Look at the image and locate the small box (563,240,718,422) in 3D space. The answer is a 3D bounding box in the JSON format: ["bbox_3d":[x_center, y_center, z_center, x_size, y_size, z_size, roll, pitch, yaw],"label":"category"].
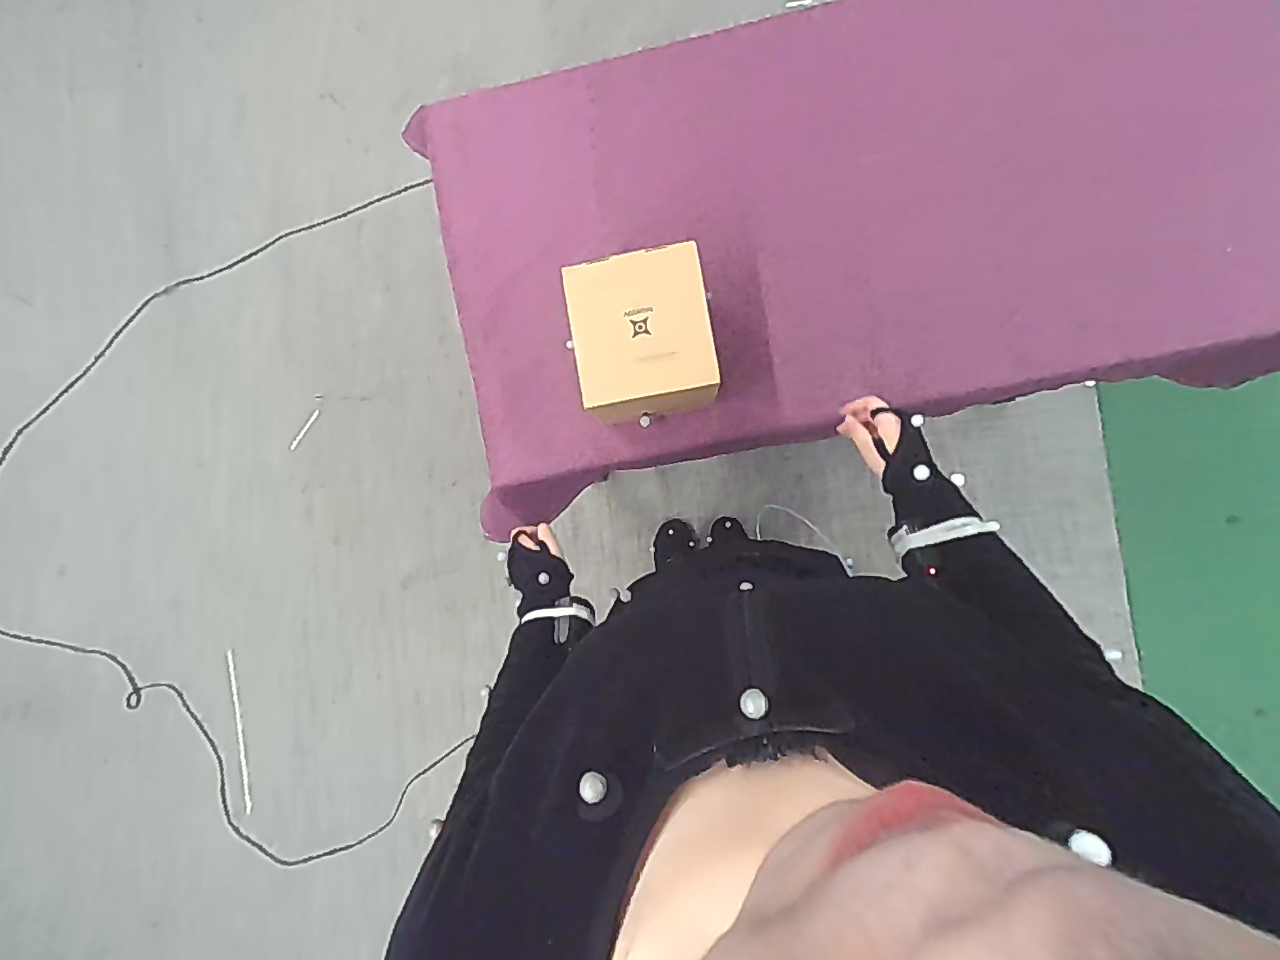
[{"bbox_3d":[0.005,-0.185,0.720,0.168,0.176,0.179,-10,88,5],"label":"small box"}]
